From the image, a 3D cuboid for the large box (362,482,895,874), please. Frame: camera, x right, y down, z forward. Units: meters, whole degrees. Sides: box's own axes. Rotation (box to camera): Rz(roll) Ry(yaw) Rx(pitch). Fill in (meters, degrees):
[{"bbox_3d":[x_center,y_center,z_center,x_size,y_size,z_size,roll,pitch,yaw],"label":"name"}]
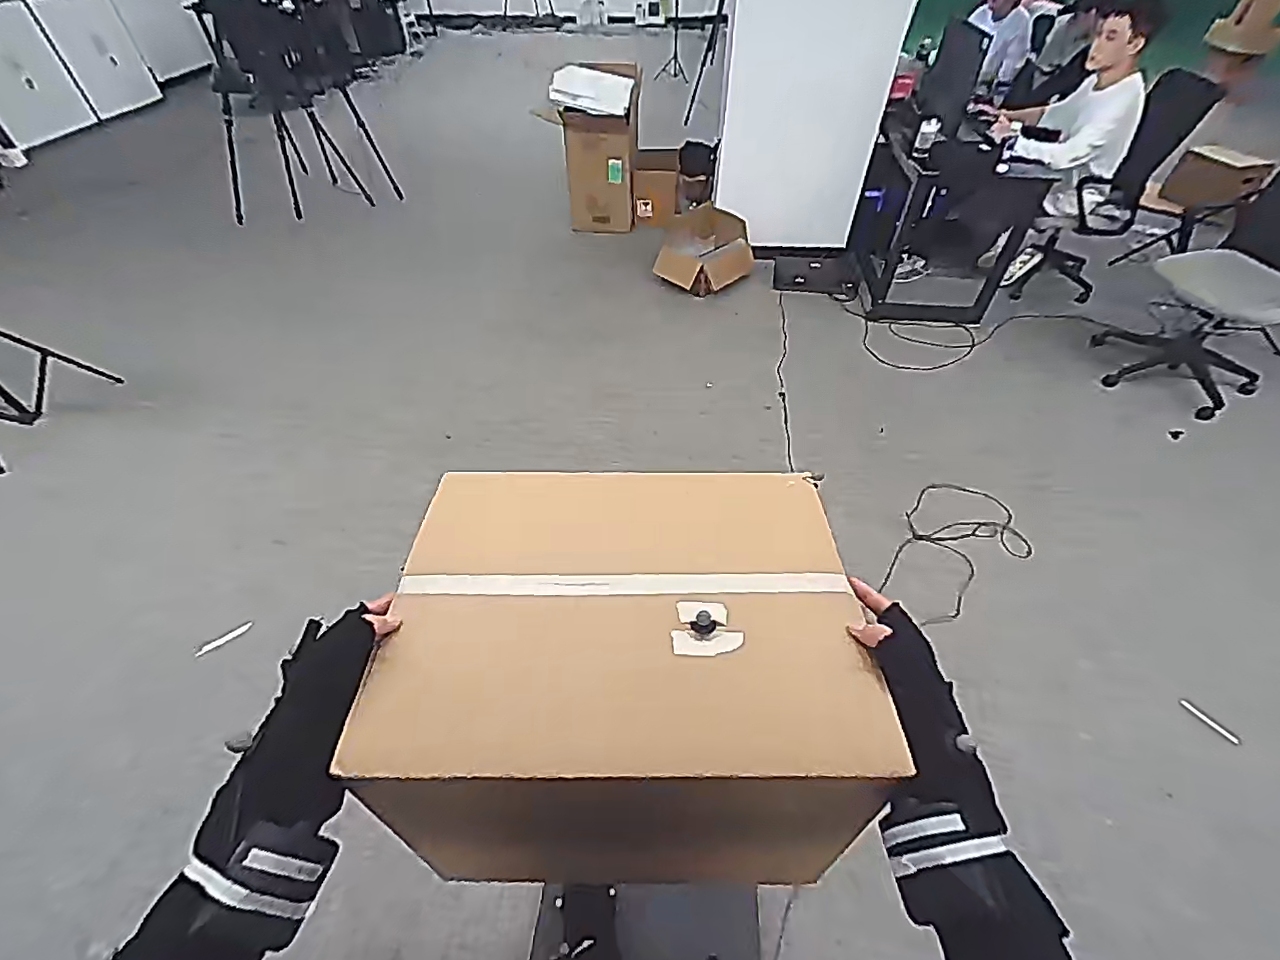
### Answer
[{"bbox_3d":[-0.010,0.215,0.605,0.408,0.320,0.320,1,42,0],"label":"large box"}]
